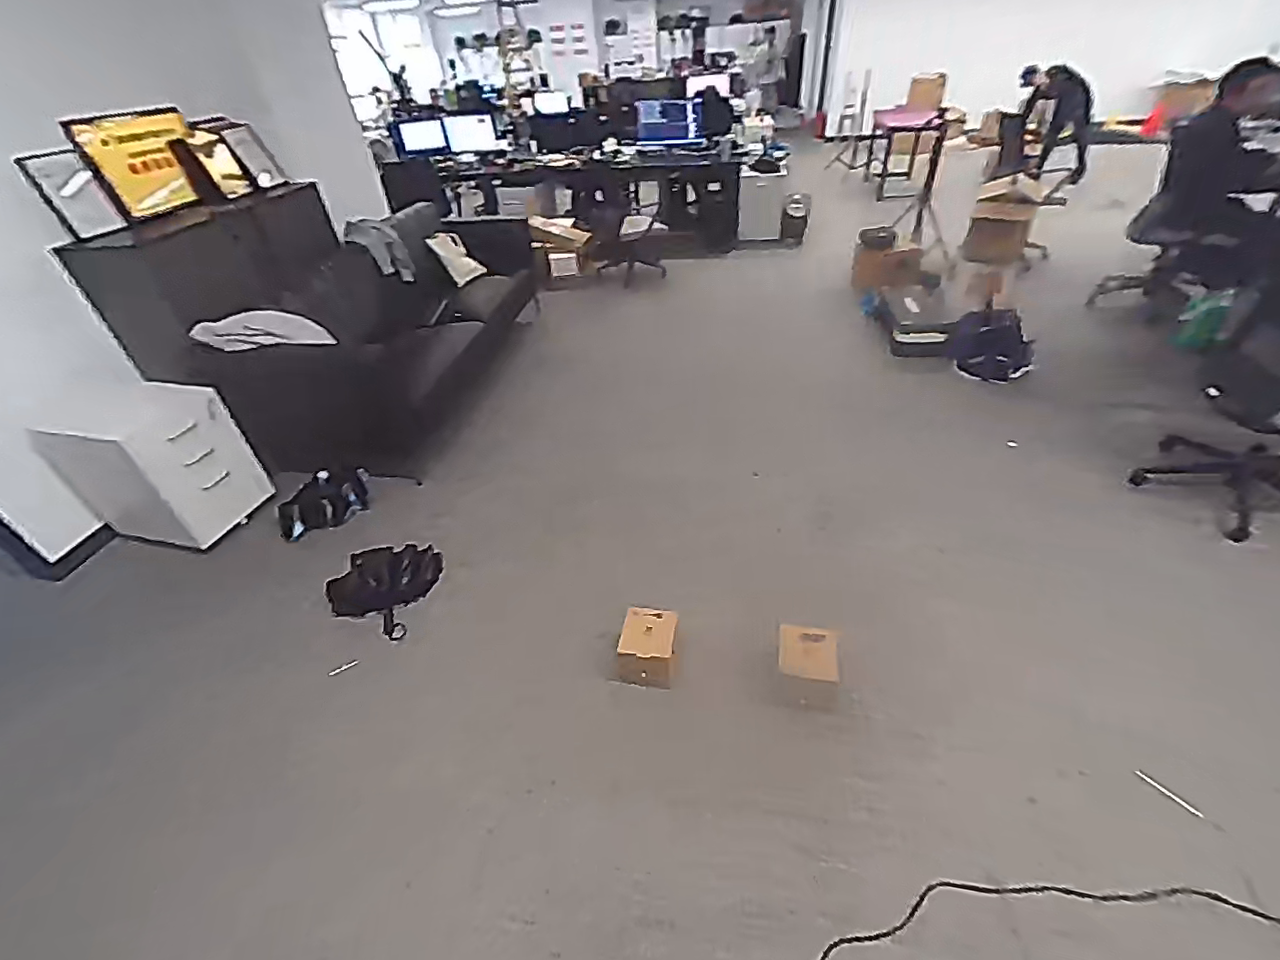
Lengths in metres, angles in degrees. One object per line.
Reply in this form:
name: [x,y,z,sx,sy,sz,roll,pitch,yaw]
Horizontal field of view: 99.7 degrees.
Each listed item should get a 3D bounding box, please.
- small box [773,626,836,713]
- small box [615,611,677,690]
small box: [0.495,0.576,1.647,0.168,0.176,0.179,3,40,13]
small box: [0.028,0.550,1.738,0.168,0.176,0.179,4,39,12]
